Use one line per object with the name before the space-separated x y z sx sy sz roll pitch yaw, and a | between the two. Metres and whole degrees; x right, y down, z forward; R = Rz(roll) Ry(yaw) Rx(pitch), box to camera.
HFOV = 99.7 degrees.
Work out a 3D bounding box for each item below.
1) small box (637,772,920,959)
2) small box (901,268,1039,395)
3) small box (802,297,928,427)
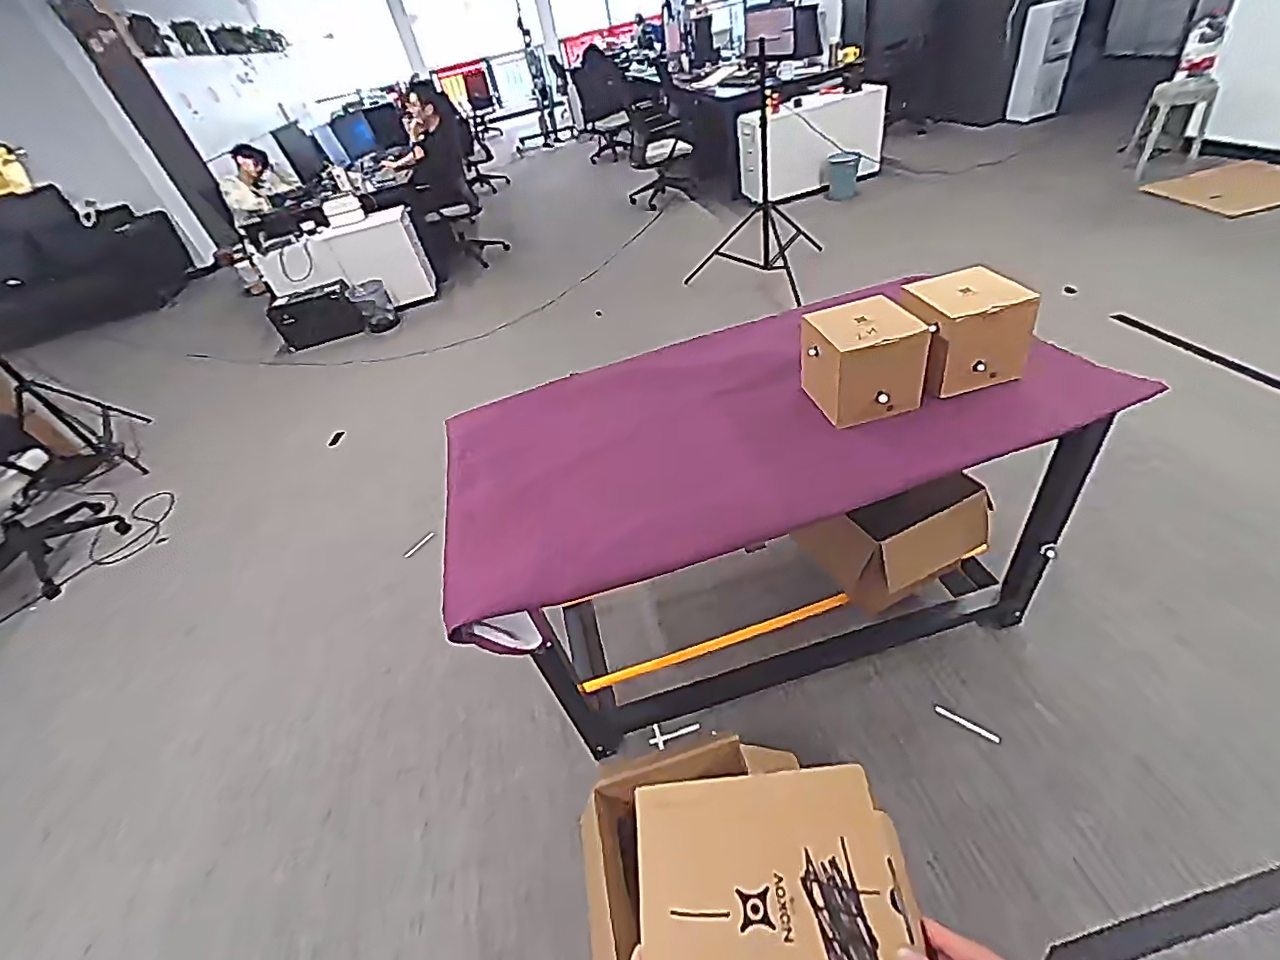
small box | 0.099 0.341 0.415 0.179 0.176 0.168 -9 46 7
small box | 0.625 -0.291 1.062 0.168 0.176 0.179 -15 39 0
small box | 0.424 -0.228 1.051 0.168 0.176 0.179 -15 40 0
